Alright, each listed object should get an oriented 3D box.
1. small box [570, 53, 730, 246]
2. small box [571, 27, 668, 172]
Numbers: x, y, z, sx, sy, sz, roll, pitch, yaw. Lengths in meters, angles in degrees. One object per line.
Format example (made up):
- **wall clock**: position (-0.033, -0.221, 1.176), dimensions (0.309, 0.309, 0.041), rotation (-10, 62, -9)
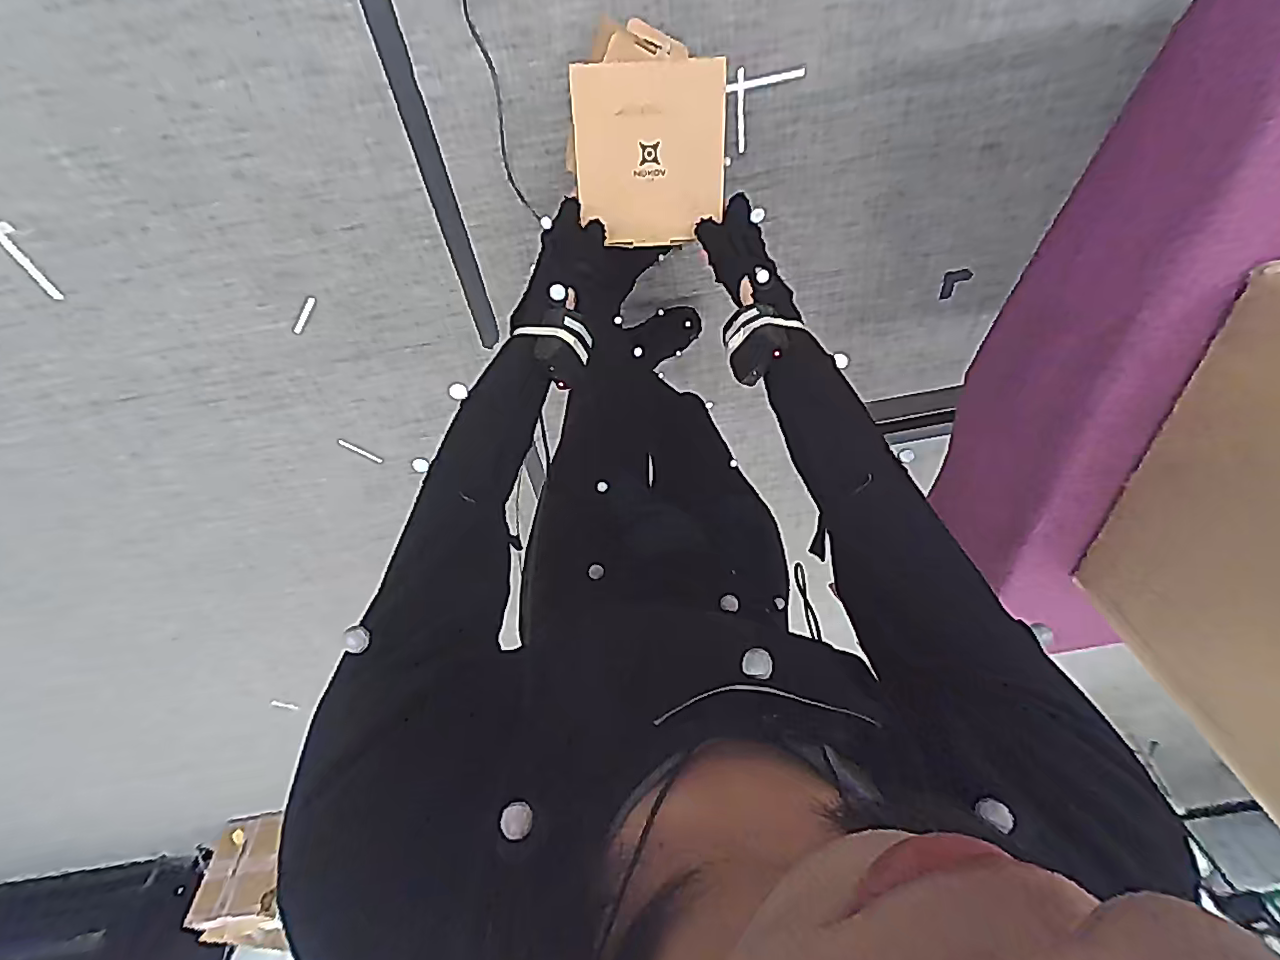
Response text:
- **small box**: position (0.011, -0.389, 0.655), dimensions (0.168, 0.176, 0.179), rotation (-3, 117, -1)
- **small box**: position (-0.001, -0.537, 0.809), dimensions (0.168, 0.176, 0.179), rotation (16, 128, -20)
